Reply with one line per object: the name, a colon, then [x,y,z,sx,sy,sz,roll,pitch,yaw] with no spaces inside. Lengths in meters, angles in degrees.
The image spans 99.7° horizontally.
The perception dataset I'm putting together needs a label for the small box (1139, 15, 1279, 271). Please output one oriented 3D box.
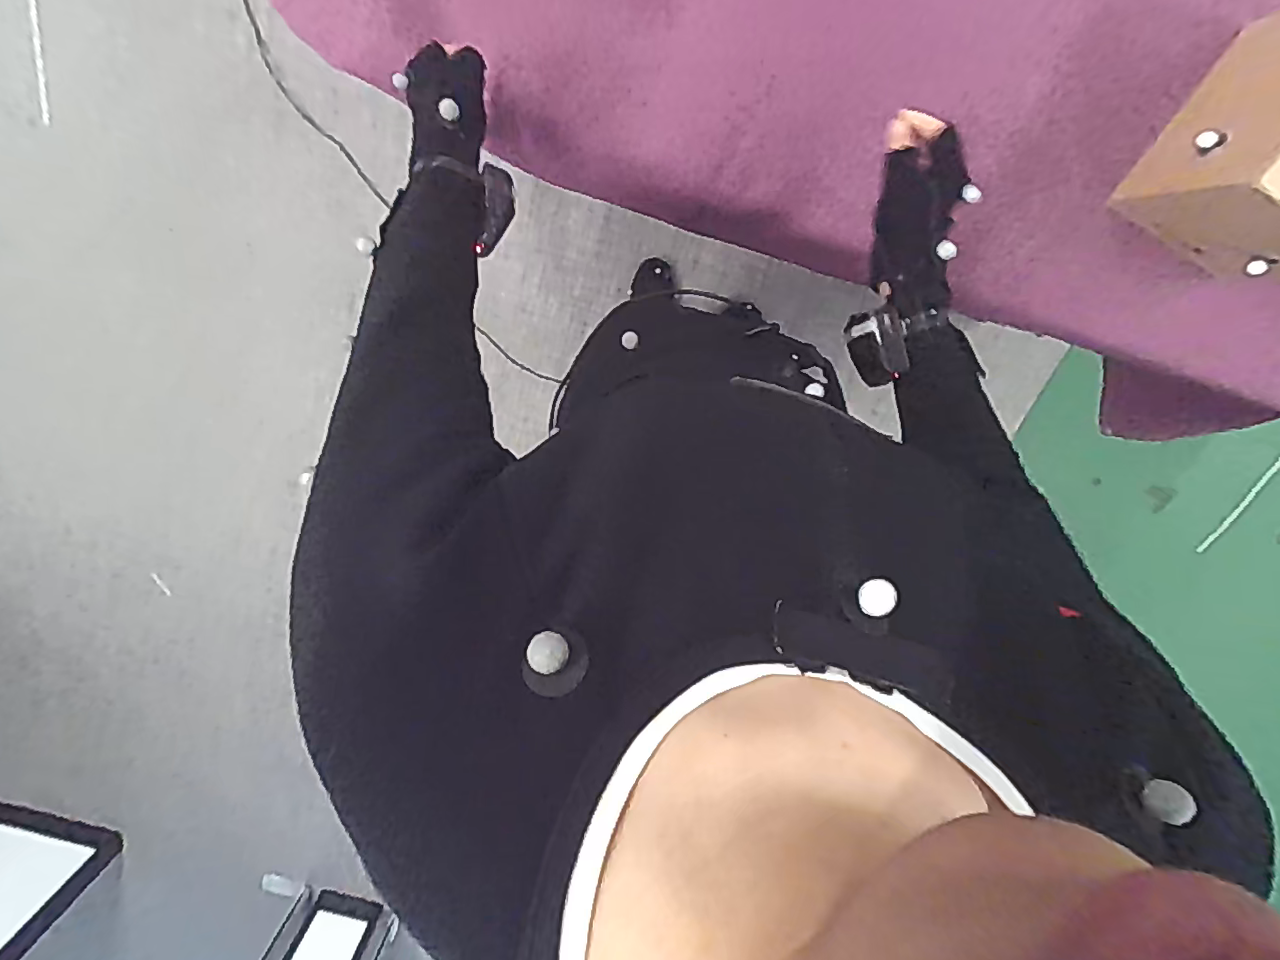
small box: [0.610,-0.301,0.478,0.168,0.176,0.179,28,112,-7]
